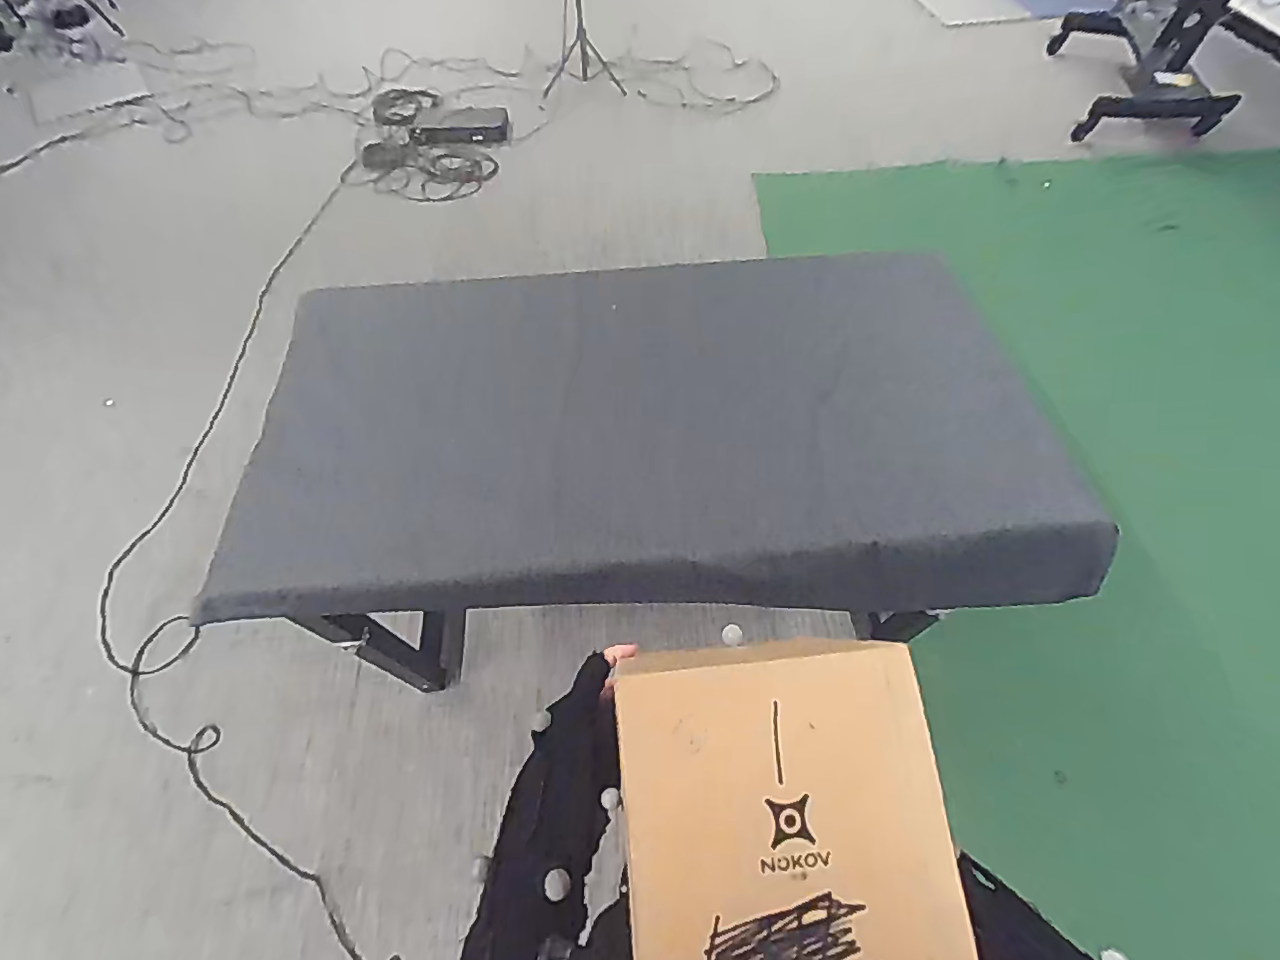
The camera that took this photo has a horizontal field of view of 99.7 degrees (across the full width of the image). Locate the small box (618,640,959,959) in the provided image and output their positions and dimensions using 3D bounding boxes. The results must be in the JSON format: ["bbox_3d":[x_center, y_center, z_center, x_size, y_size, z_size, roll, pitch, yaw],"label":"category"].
[{"bbox_3d":[0.074,0.206,0.362,0.168,0.176,0.179,-4,75,-3],"label":"small box"}]
